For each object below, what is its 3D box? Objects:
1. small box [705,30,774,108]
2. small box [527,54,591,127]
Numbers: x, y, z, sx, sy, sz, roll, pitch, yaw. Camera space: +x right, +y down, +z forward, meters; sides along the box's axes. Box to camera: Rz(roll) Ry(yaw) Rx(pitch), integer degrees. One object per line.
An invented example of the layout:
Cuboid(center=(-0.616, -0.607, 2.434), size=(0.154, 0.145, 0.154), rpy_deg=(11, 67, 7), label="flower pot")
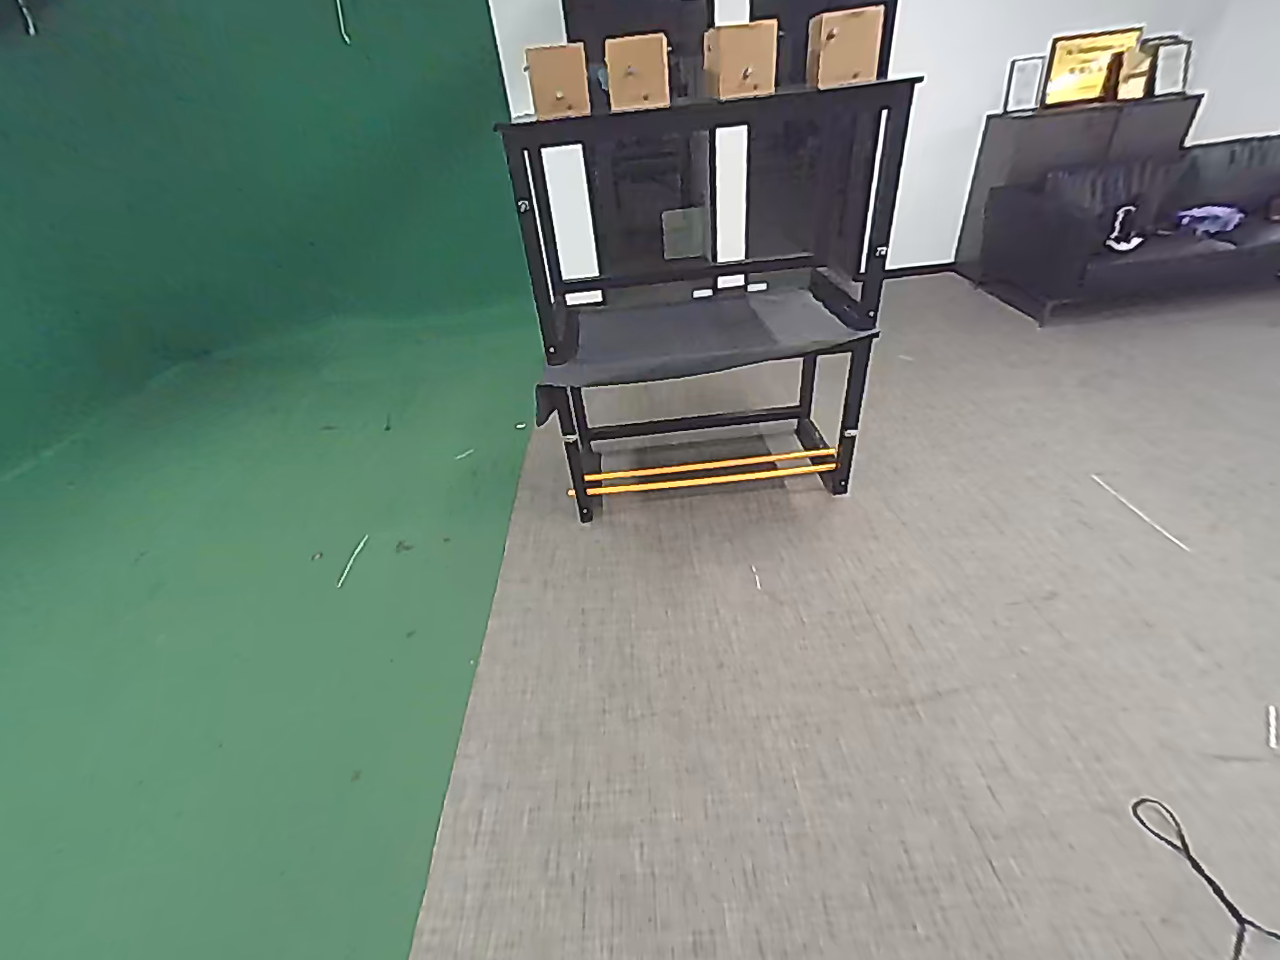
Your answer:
Cuboid(center=(0.291, -1.219, 1.613), size=(0.168, 0.176, 0.179), rpy_deg=(-9, 35, -3), label="small box")
Cuboid(center=(-0.245, -1.179, 1.644), size=(0.168, 0.176, 0.179), rpy_deg=(-10, 36, -5), label="small box")
